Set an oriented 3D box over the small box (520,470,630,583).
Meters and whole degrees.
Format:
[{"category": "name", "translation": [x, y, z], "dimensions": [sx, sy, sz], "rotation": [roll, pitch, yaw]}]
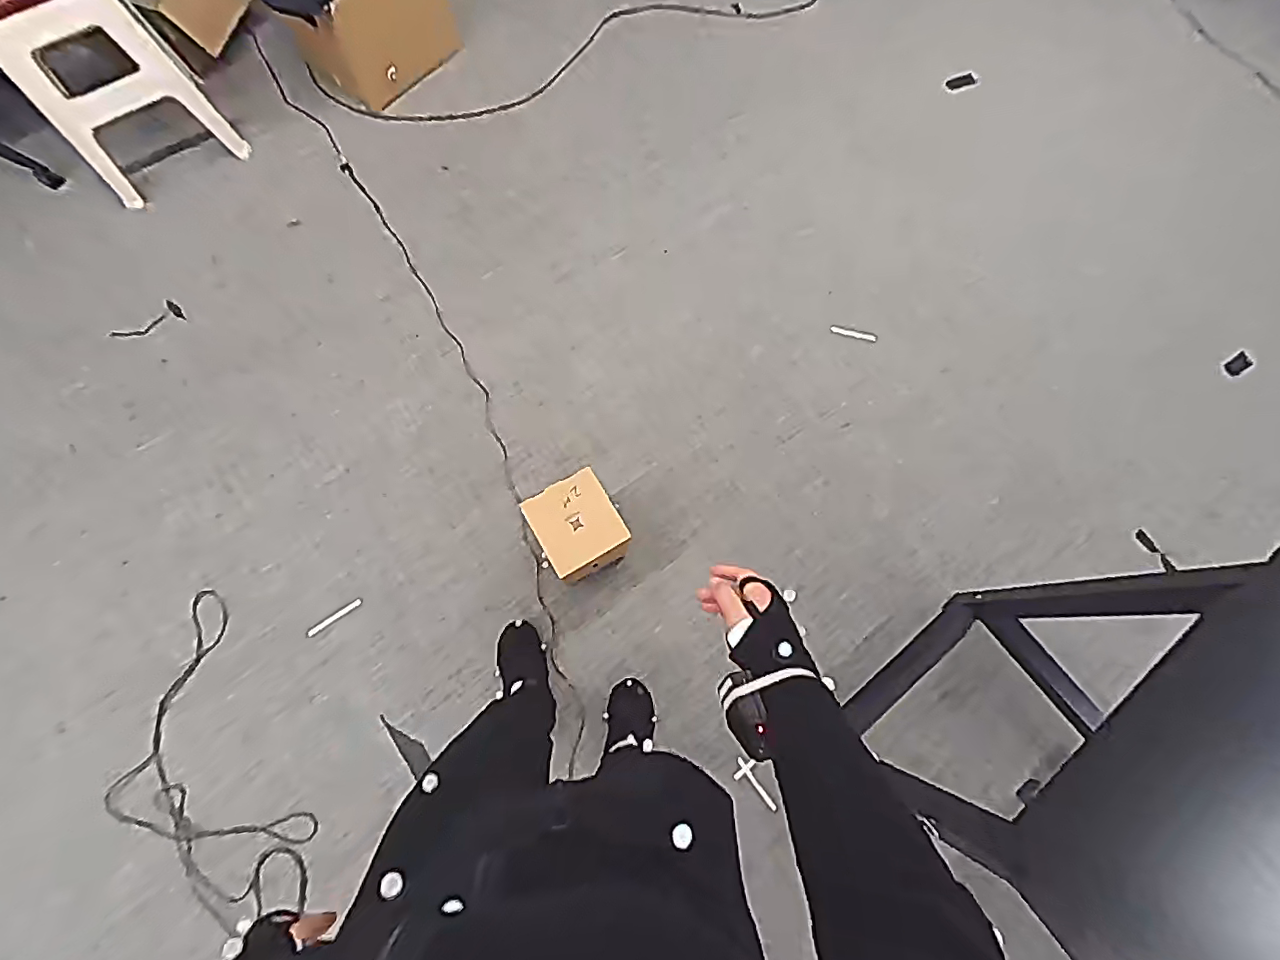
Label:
[{"category": "small box", "translation": [-0.135, 0.110, 1.164], "dimensions": [0.168, 0.176, 0.179], "rotation": [-30, 77, -13]}]
